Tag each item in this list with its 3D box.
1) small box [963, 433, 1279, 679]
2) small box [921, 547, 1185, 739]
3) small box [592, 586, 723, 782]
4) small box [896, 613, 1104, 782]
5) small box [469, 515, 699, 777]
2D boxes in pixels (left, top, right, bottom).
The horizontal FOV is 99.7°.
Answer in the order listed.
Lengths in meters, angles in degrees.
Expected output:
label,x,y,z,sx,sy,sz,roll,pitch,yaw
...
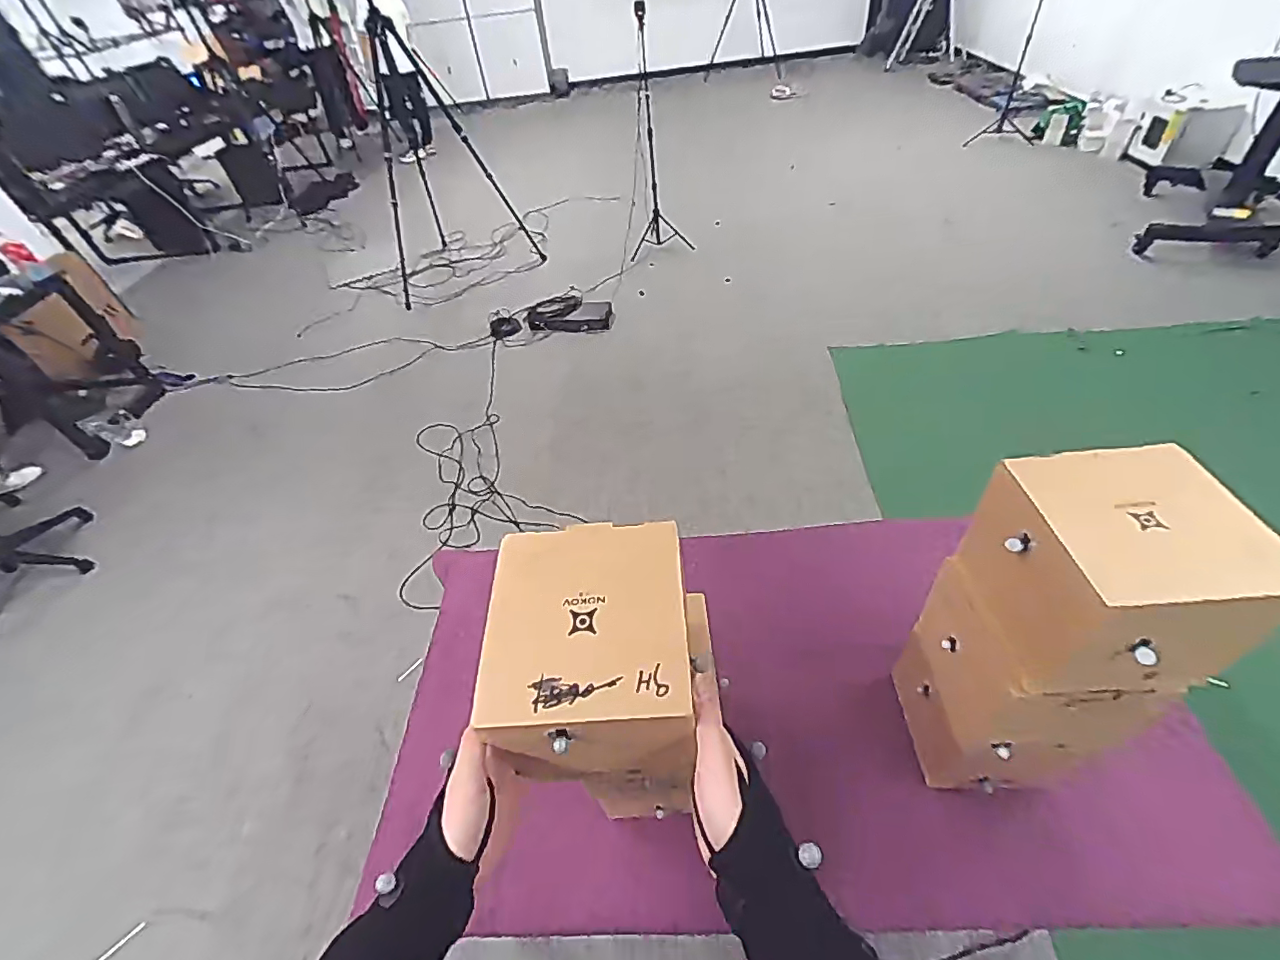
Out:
label,x,y,z,sx,sy,sz,roll,pitch,yaw
small box,0.452,0.080,0.527,0.168,0.176,0.179,-6,44,5
small box,0.461,0.194,0.643,0.168,0.176,0.179,-4,44,6
small box,0.009,0.252,0.656,0.168,0.176,0.179,-6,47,3
small box,0.482,0.304,0.762,0.168,0.176,0.179,-4,46,7
small box,-0.036,0.155,0.500,0.168,0.176,0.179,-6,49,5
